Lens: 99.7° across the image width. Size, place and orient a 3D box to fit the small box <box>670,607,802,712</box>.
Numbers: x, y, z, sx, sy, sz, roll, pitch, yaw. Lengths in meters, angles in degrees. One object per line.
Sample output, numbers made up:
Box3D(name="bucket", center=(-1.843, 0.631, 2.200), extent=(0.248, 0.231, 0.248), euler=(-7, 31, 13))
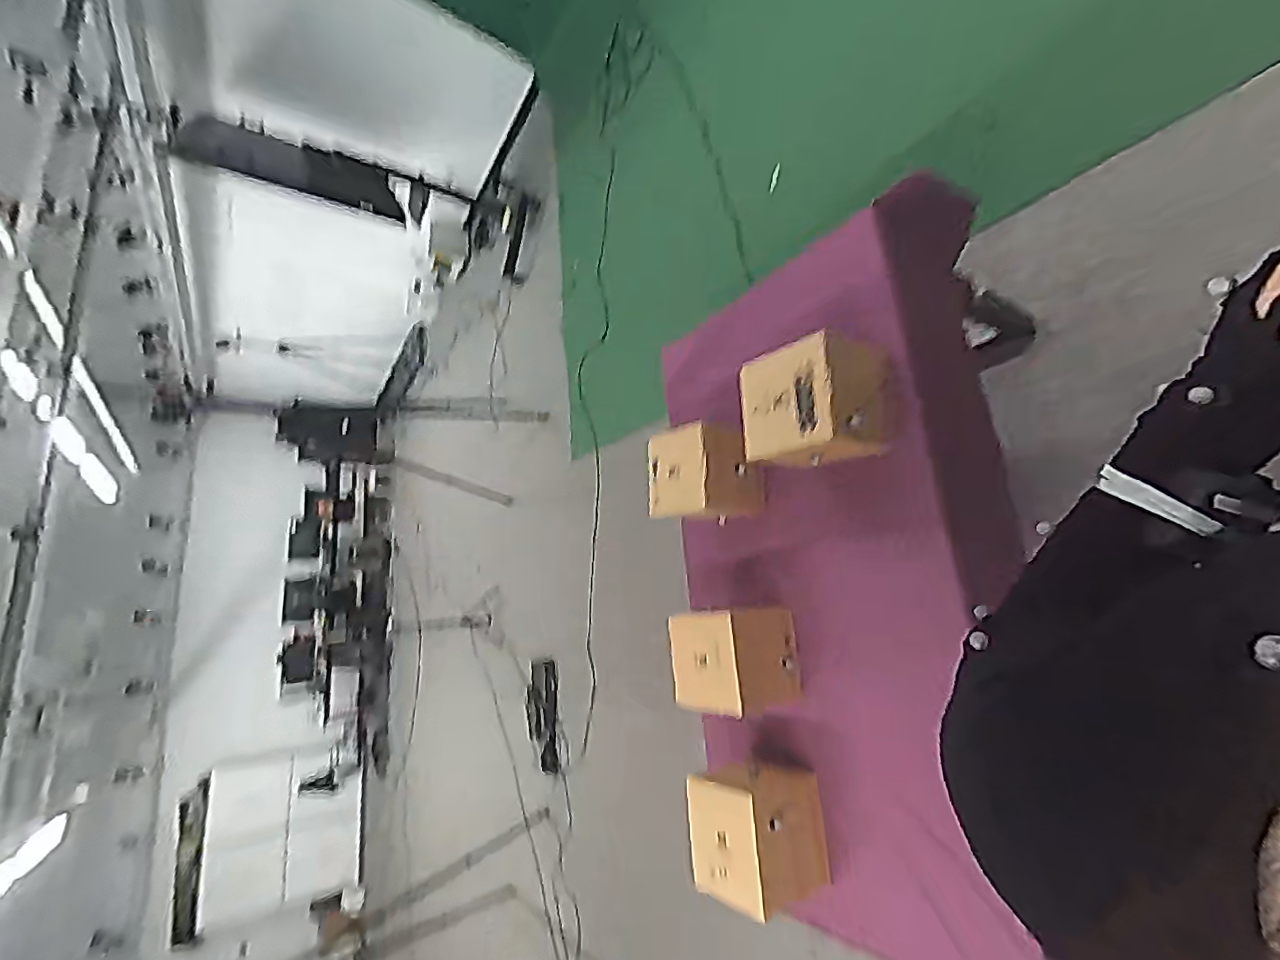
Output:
Box3D(name="small box", center=(0.180, 0.332, 1.029), extent=(0.179, 0.176, 0.168), euler=(-22, 69, 52))

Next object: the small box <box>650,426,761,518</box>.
Box3D(name="small box", center=(0.140, -0.009, 1.127), extent=(0.179, 0.176, 0.168), euler=(-13, 75, 53))

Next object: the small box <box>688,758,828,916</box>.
Box3D(name="small box", center=(0.206, 0.608, 0.953), extent=(0.168, 0.176, 0.179), euler=(-22, 68, 52))
